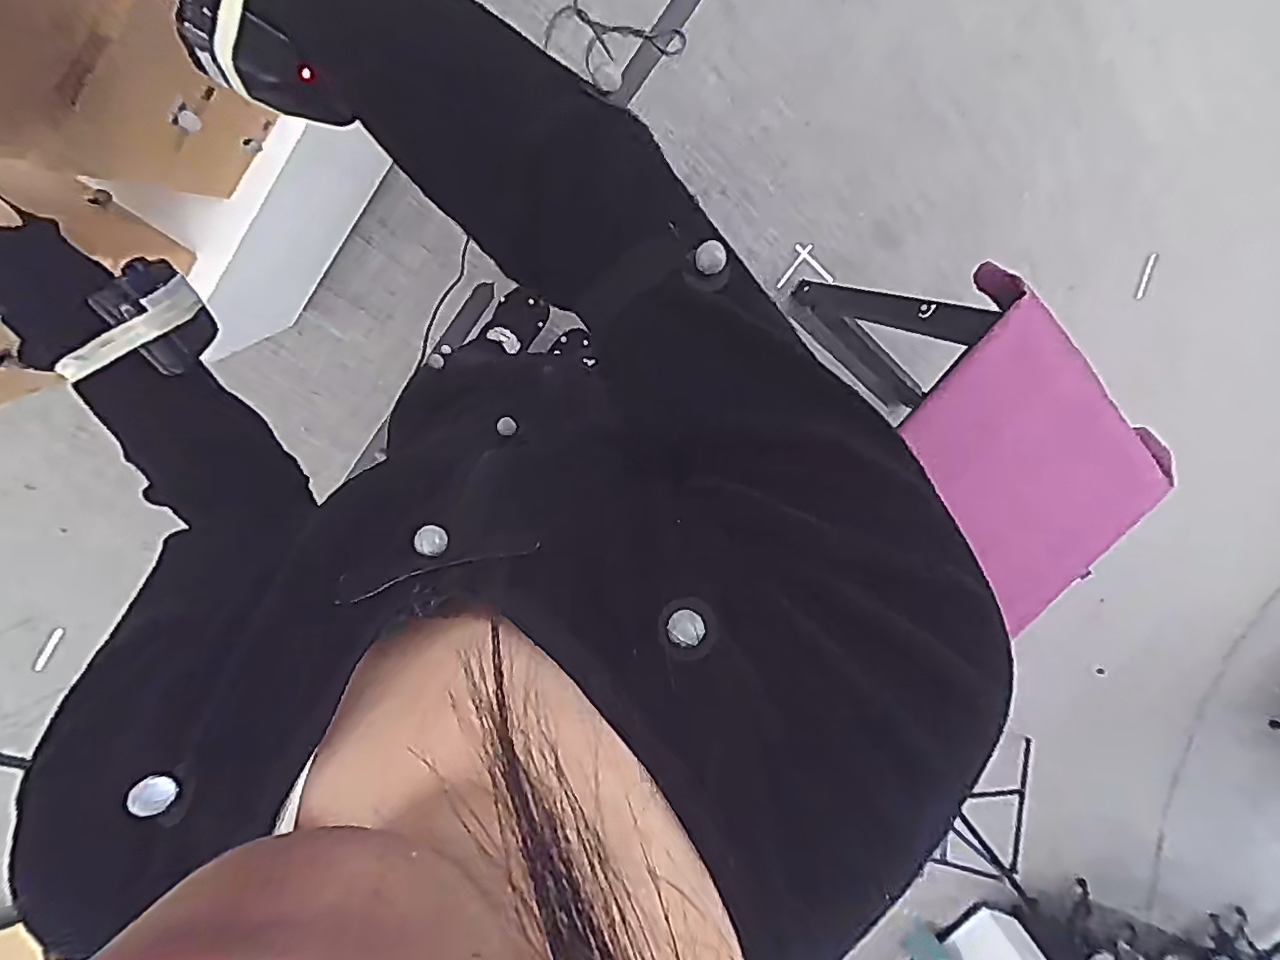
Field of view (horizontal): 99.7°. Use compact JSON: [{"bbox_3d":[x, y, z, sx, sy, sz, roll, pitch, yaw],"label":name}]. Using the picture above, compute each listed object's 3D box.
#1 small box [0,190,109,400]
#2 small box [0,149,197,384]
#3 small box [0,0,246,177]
[{"bbox_3d":[-0.609,-0.169,0.443,0.179,0.176,0.168,33,102,-24],"label":"small box"},{"bbox_3d":[-0.648,-0.233,0.586,0.179,0.176,0.168,34,102,-24],"label":"small box"},{"bbox_3d":[-0.448,-0.355,0.399,0.179,0.176,0.168,36,101,-27],"label":"small box"}]
